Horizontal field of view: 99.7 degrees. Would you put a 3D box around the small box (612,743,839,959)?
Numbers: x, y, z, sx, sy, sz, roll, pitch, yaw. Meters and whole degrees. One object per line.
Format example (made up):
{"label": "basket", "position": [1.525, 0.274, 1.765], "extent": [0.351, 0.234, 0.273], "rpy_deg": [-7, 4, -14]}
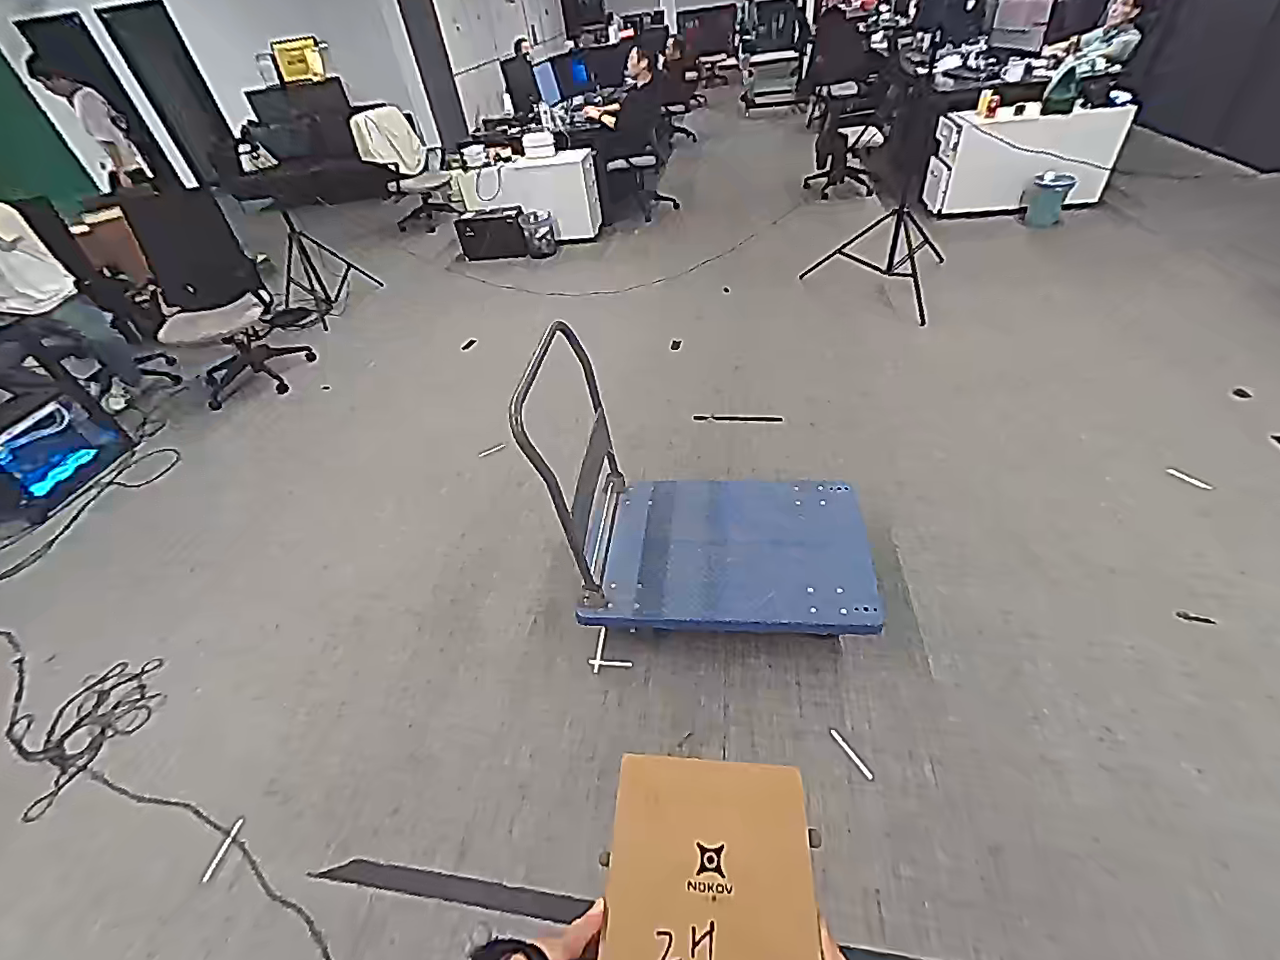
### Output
{"label": "small box", "position": [0.073, 0.366, 0.488], "extent": [0.168, 0.176, 0.179], "rpy_deg": [0, 42, 8]}
